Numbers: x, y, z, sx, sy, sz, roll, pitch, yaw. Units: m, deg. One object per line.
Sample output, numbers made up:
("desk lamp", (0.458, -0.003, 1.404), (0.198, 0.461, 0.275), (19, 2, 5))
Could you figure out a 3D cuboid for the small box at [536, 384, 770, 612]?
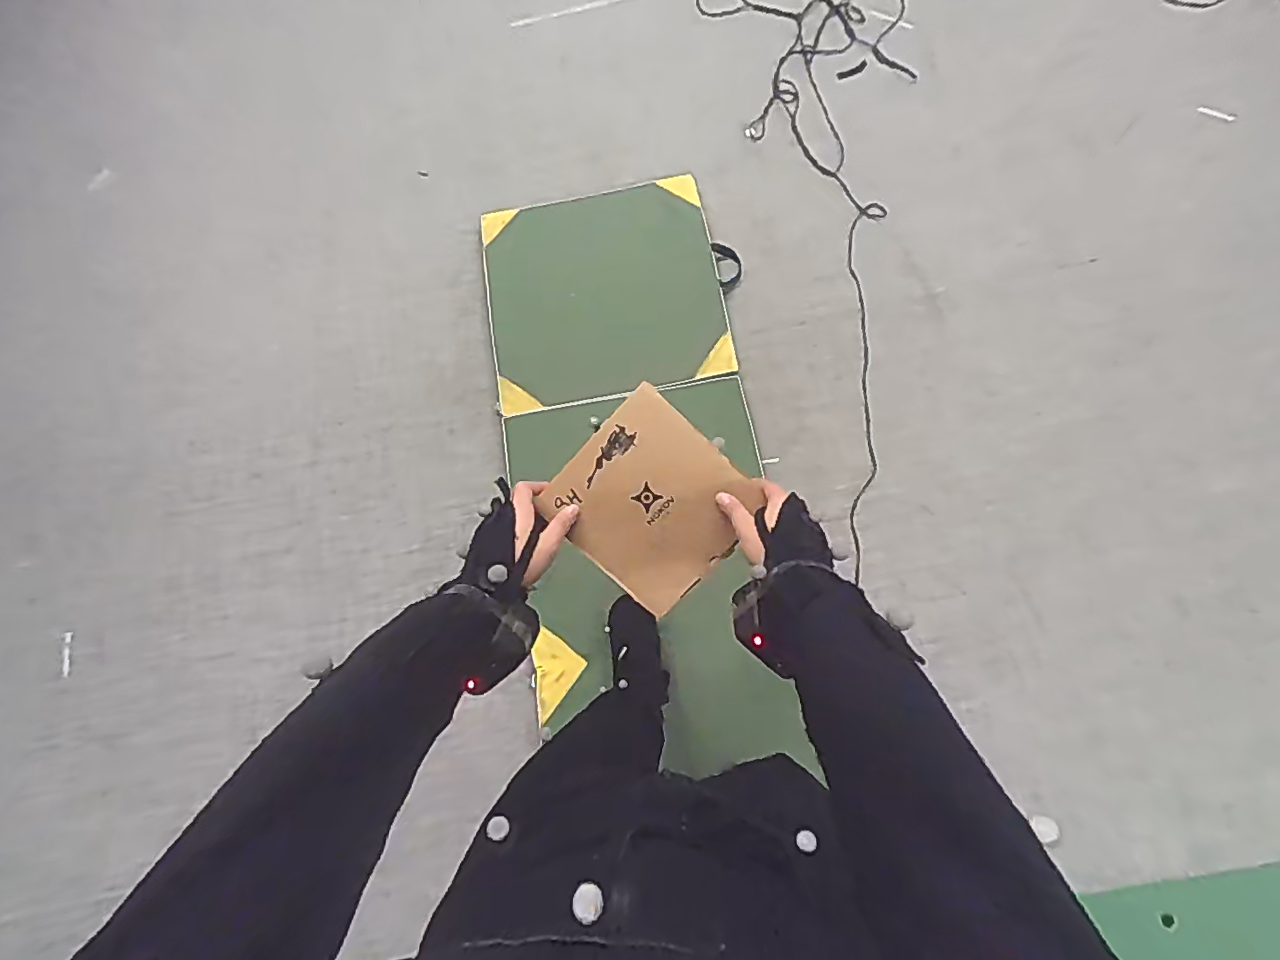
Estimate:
("small box", (0.014, 0.009, 0.612), (0.179, 0.176, 0.168), (43, 95, -5))
